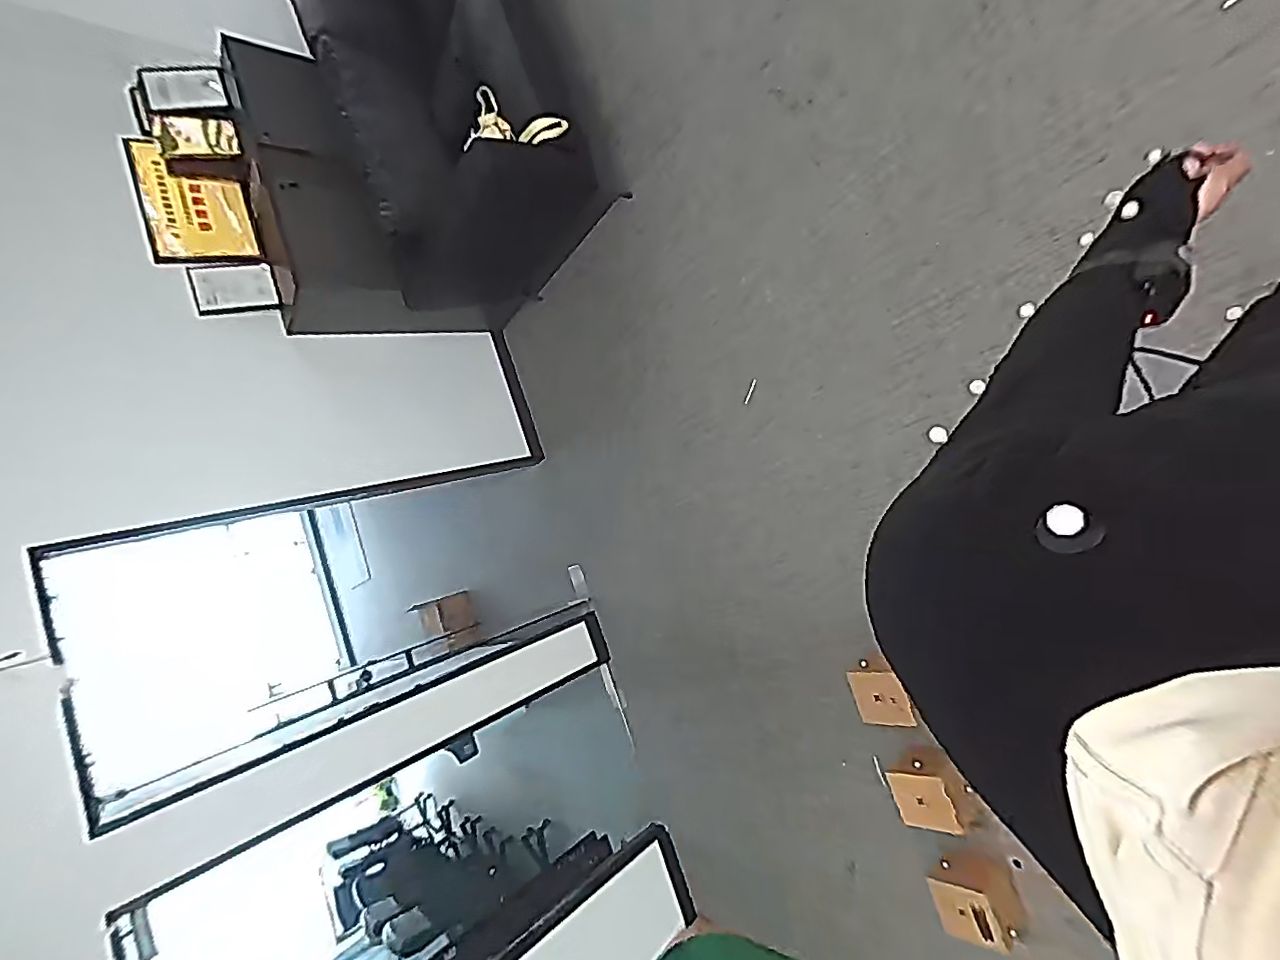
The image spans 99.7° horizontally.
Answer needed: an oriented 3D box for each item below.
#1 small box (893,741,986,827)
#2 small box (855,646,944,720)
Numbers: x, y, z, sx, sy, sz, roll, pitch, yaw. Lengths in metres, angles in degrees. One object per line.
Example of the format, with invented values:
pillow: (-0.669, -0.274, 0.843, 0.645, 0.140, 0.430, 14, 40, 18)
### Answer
small box: (0.926, 0.928, 1.670, 0.179, 0.176, 0.168, -27, 80, 49)
small box: (0.819, 0.634, 1.706, 0.179, 0.176, 0.168, -23, 83, 50)
